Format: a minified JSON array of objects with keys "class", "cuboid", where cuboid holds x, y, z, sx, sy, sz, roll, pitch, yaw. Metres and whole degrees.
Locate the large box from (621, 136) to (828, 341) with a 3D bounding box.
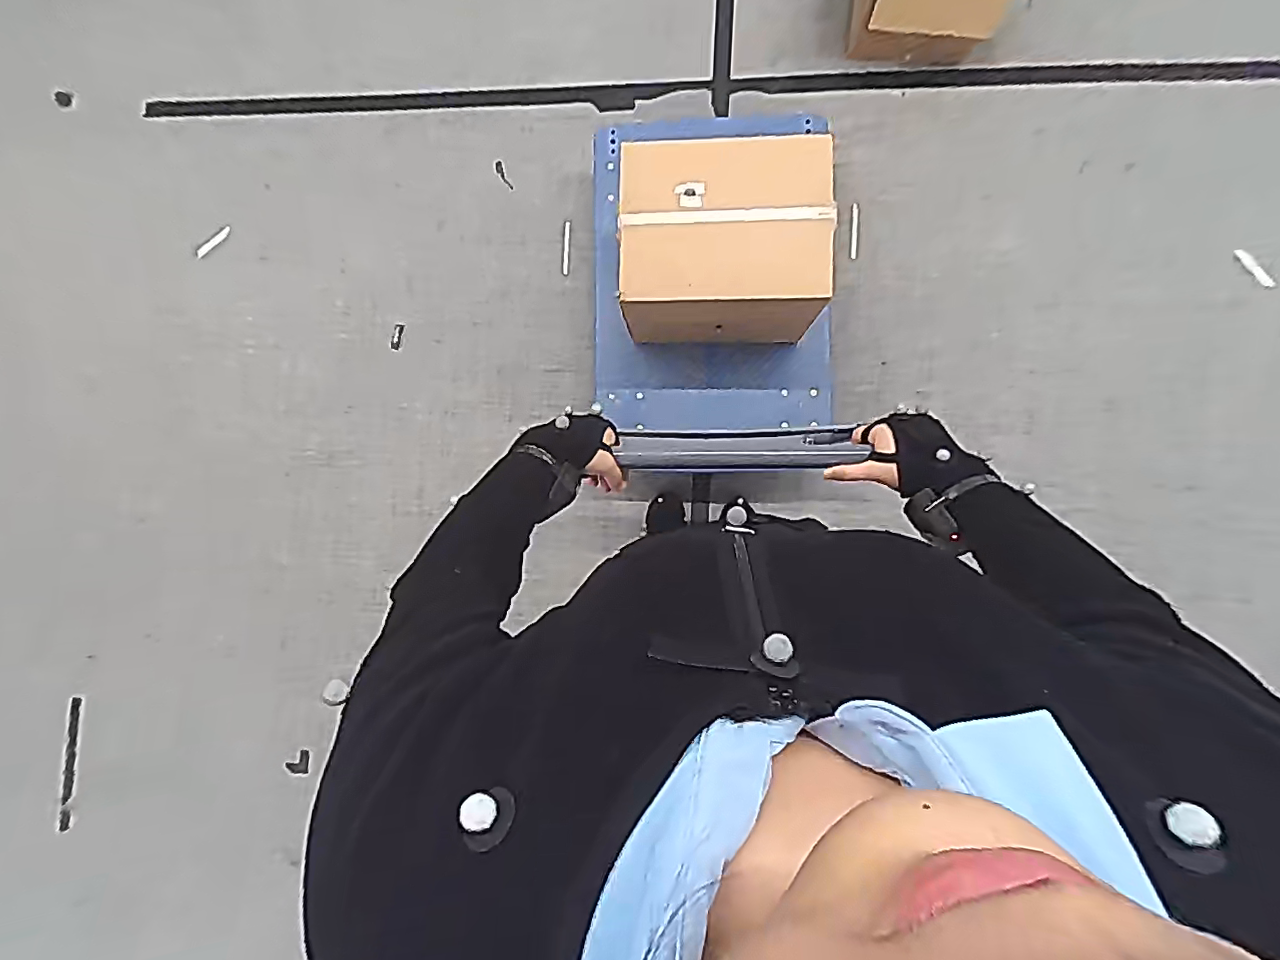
[{"class":"large box","cuboid":[0.177,-0.502,1.200,0.408,0.320,0.320,0,88,6]}]
